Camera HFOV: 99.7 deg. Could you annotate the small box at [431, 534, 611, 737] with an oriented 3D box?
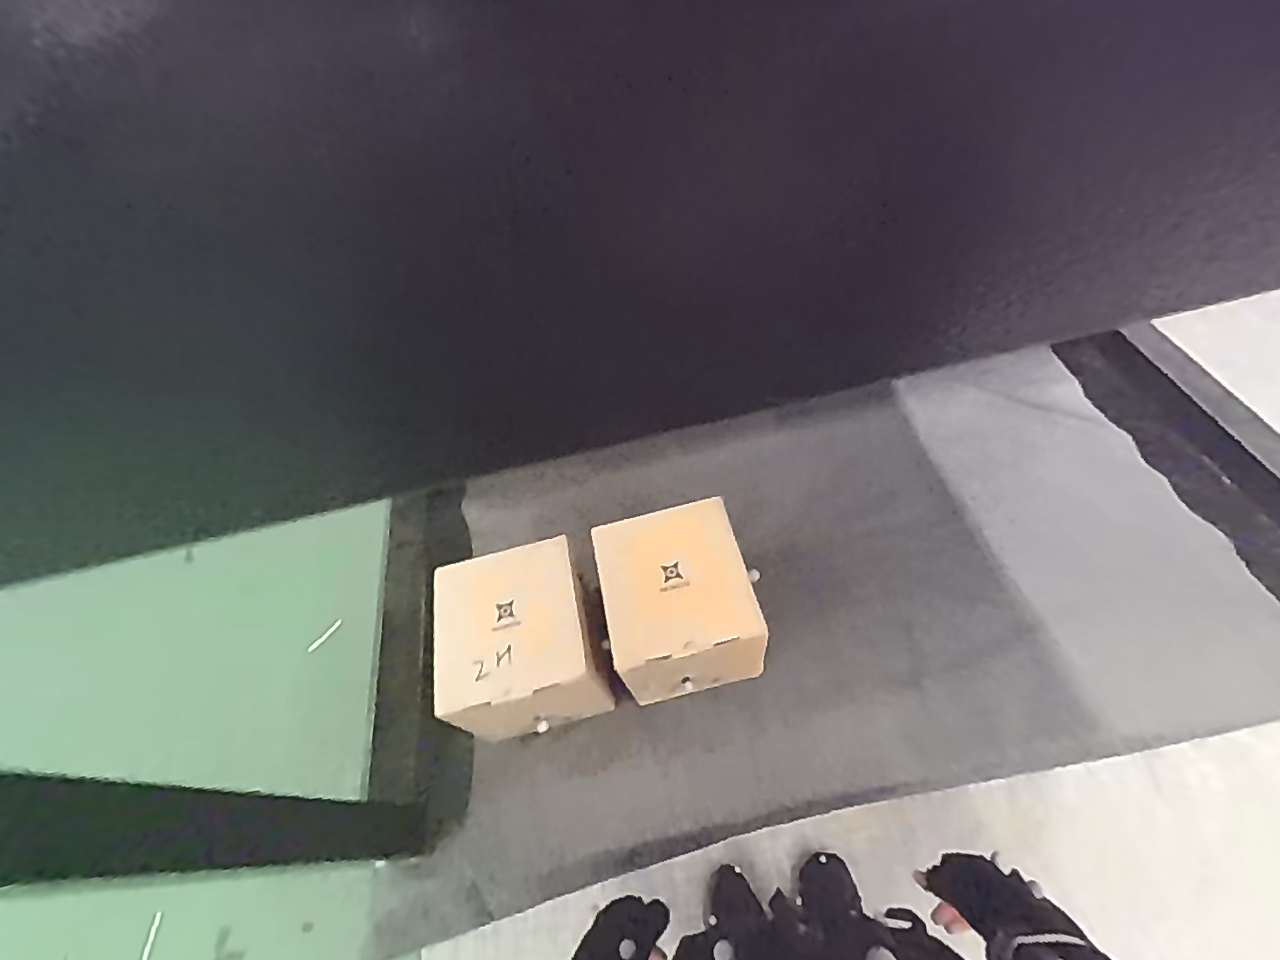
[{"bbox_3d":[-0.142,0.197,0.671,0.168,0.176,0.179,-15,55,0],"label":"small box"}]
